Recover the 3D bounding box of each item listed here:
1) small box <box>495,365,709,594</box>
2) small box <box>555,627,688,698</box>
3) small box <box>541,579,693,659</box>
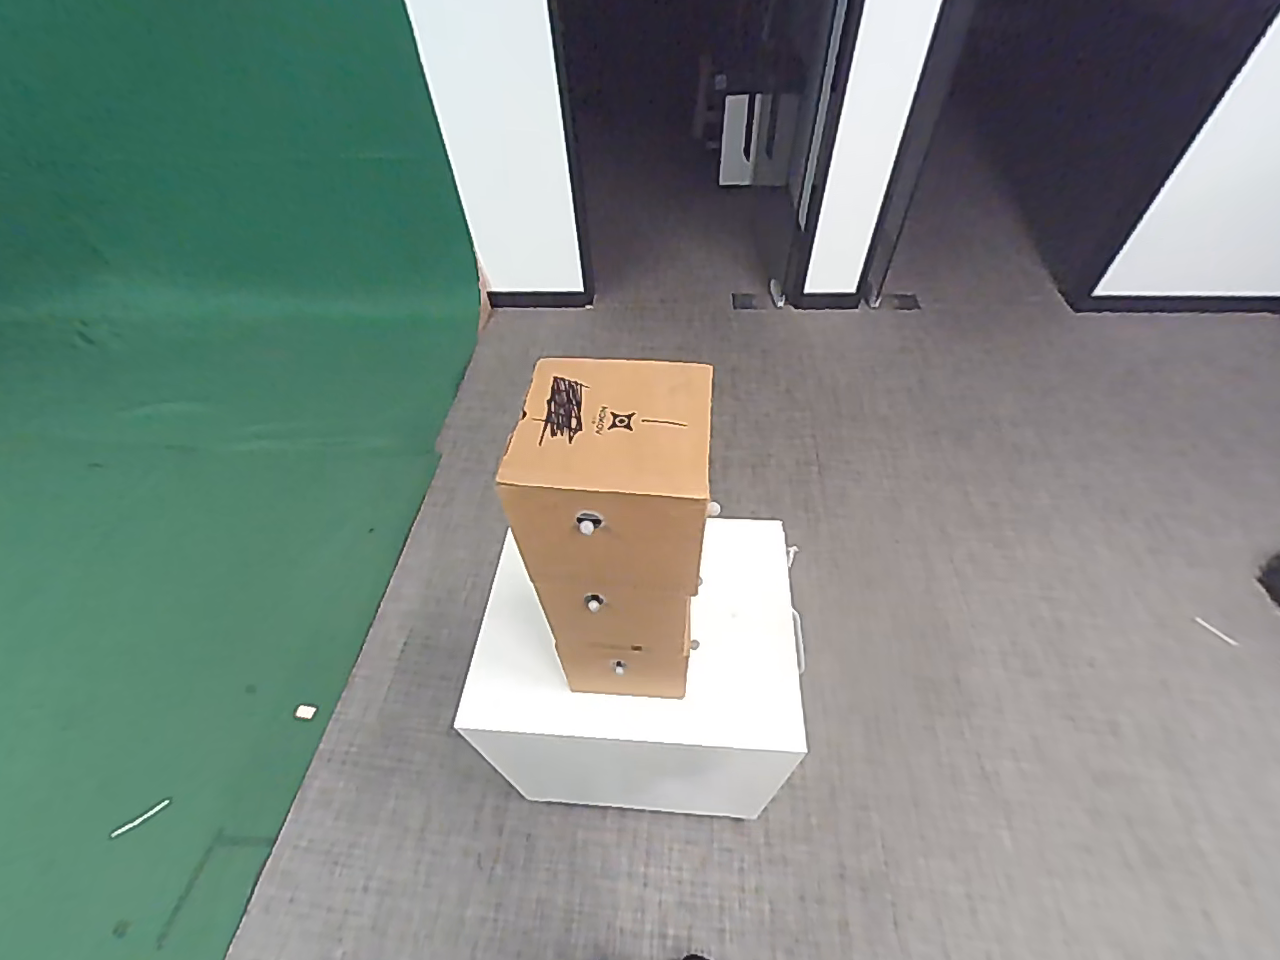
[{"bbox_3d":[-0.024,0.002,0.554,0.179,0.176,0.168,4,51,6],"label":"small box"},{"bbox_3d":[-0.017,0.212,0.805,0.179,0.176,0.168,2,50,4],"label":"small box"},{"bbox_3d":[-0.020,0.106,0.684,0.168,0.176,0.179,1,51,3],"label":"small box"}]
